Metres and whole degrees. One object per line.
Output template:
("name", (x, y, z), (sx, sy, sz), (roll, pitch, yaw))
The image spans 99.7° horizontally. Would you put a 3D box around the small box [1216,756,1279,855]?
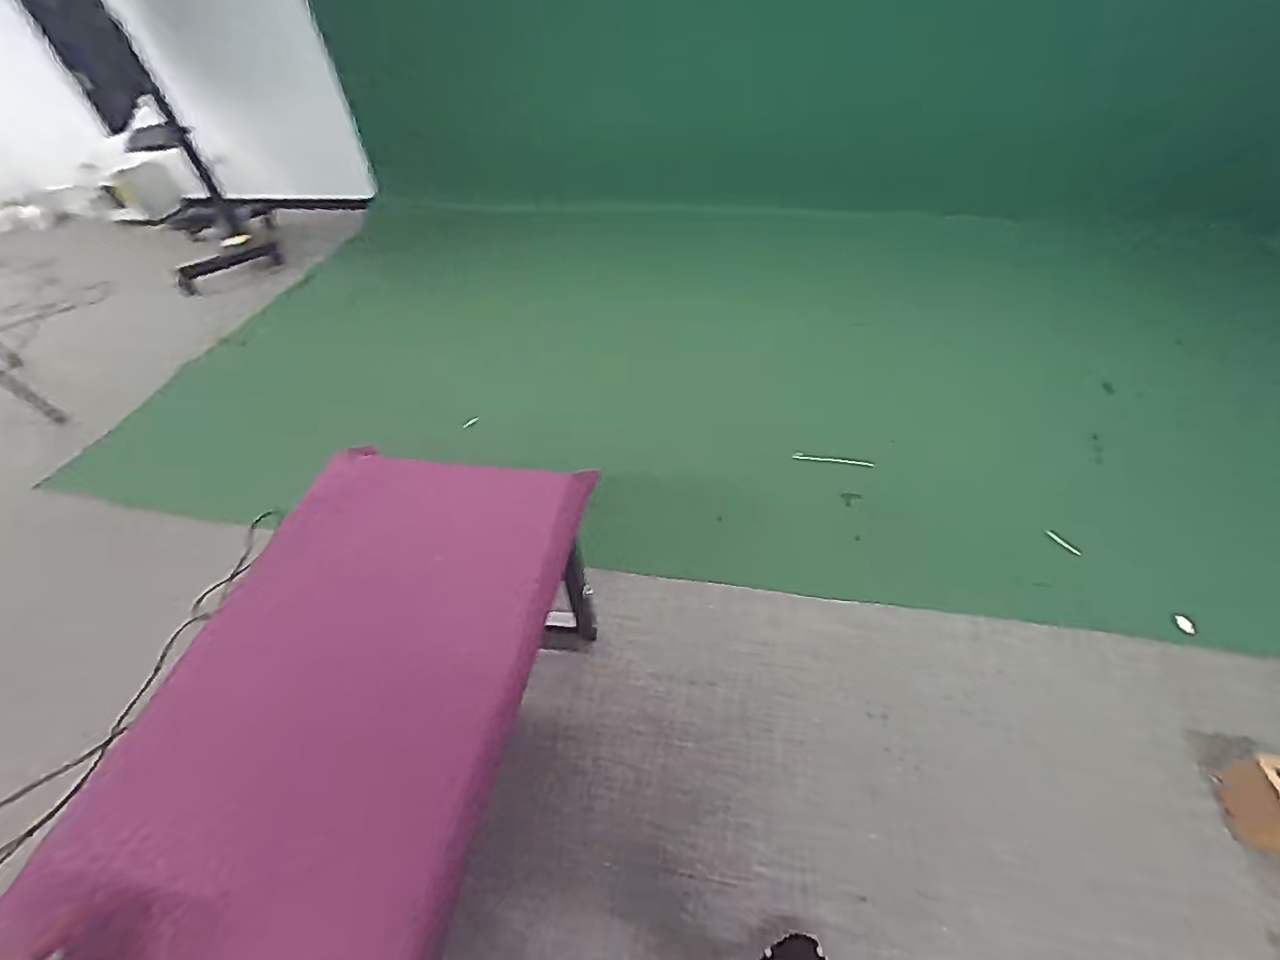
("small box", (1.519, 0.772, 1.261), (0.179, 0.176, 0.168), (7, 48, 9))
